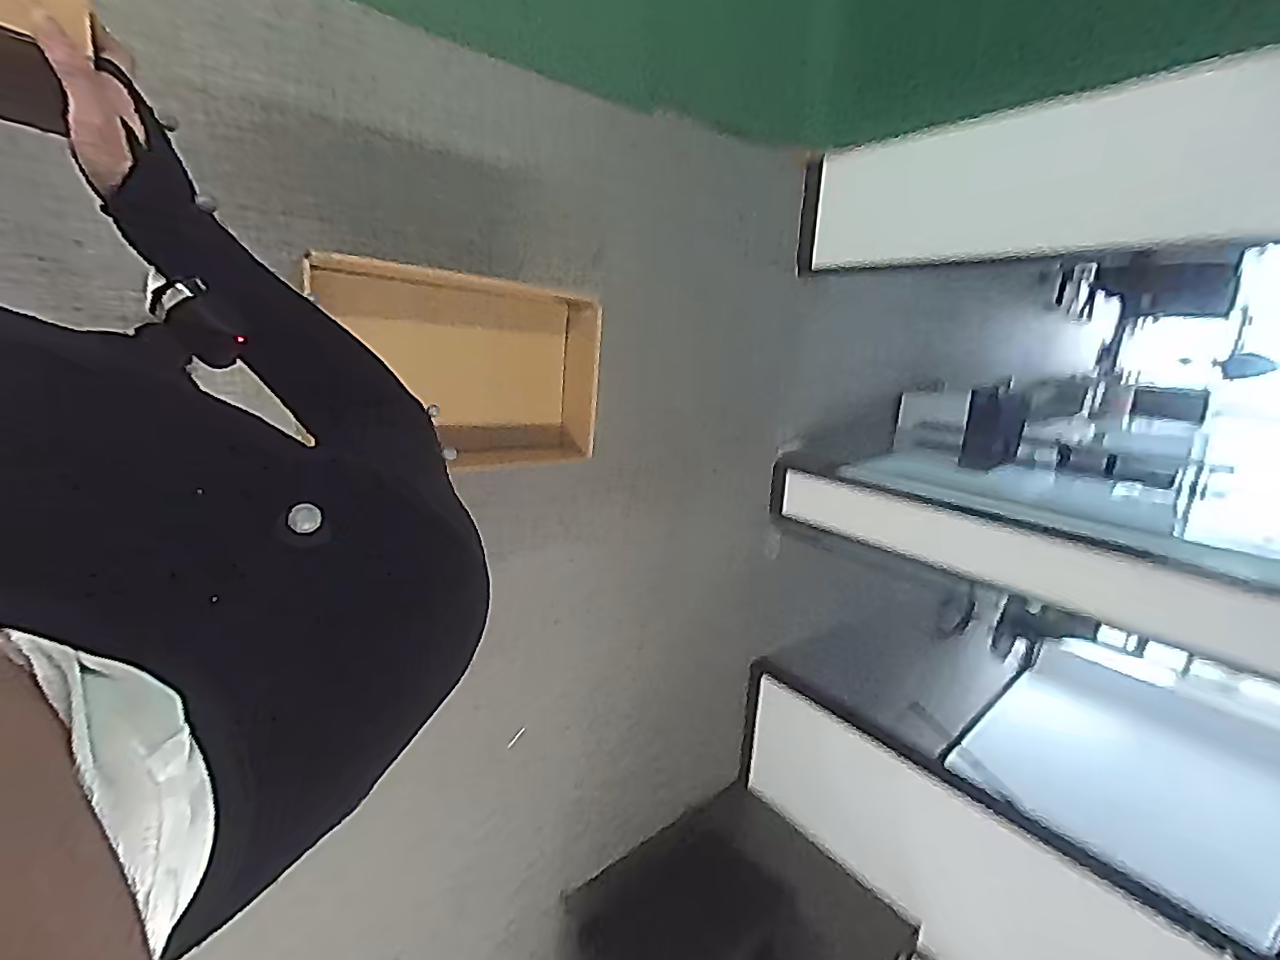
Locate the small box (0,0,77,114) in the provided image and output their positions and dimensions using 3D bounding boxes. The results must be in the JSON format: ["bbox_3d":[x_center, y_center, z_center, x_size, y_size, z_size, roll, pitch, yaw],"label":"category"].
[{"bbox_3d":[-0.507,-0.391,0.360,0.168,0.176,0.179,-8,103,-47],"label":"small box"}]
